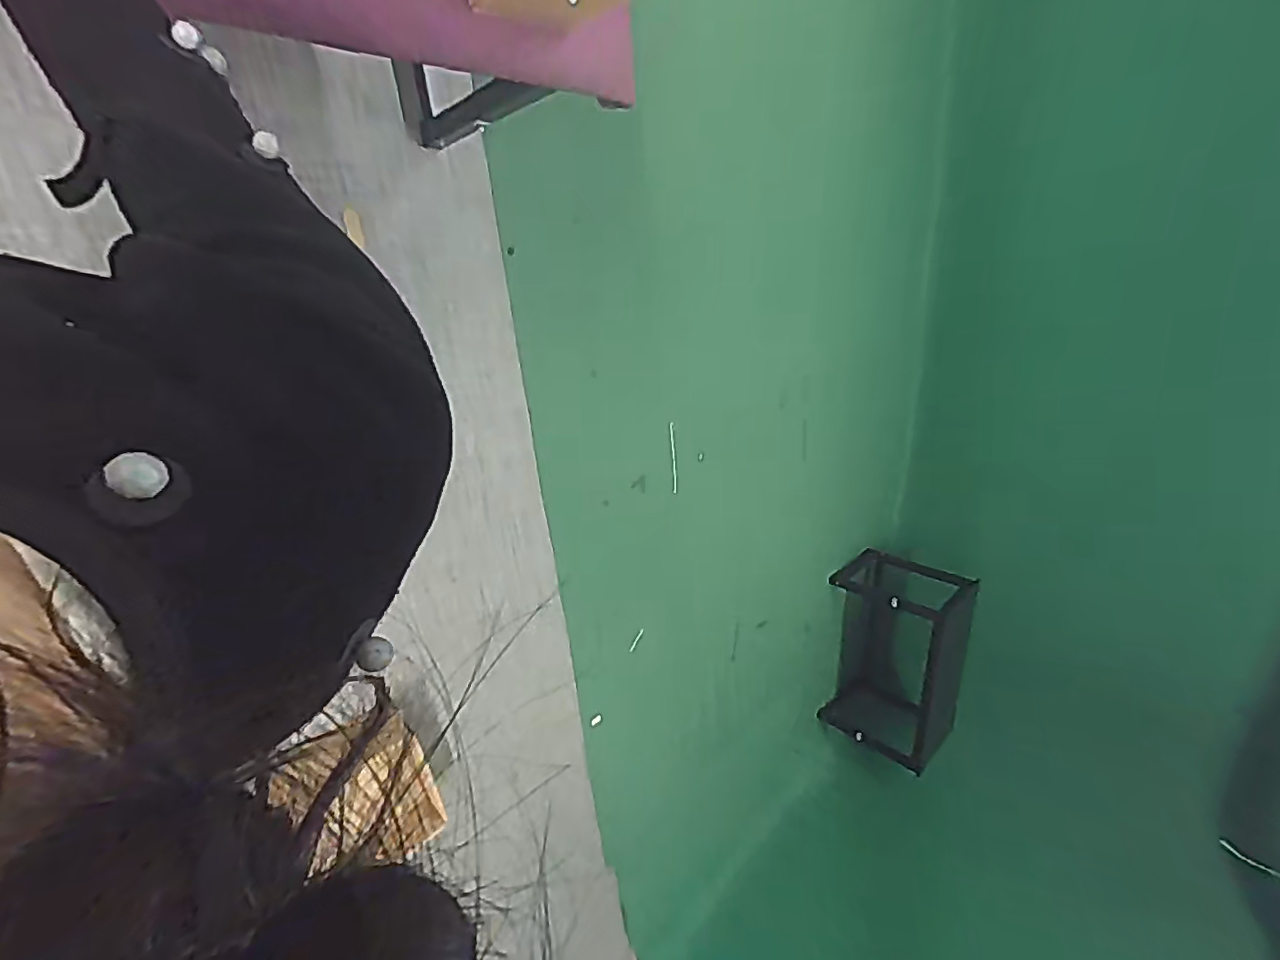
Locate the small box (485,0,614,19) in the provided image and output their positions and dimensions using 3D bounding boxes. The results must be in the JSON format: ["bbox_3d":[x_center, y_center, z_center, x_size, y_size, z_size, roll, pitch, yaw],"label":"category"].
[{"bbox_3d":[-0.109,-0.727,0.690,0.179,0.176,0.168,-23,119,-35],"label":"small box"}]
